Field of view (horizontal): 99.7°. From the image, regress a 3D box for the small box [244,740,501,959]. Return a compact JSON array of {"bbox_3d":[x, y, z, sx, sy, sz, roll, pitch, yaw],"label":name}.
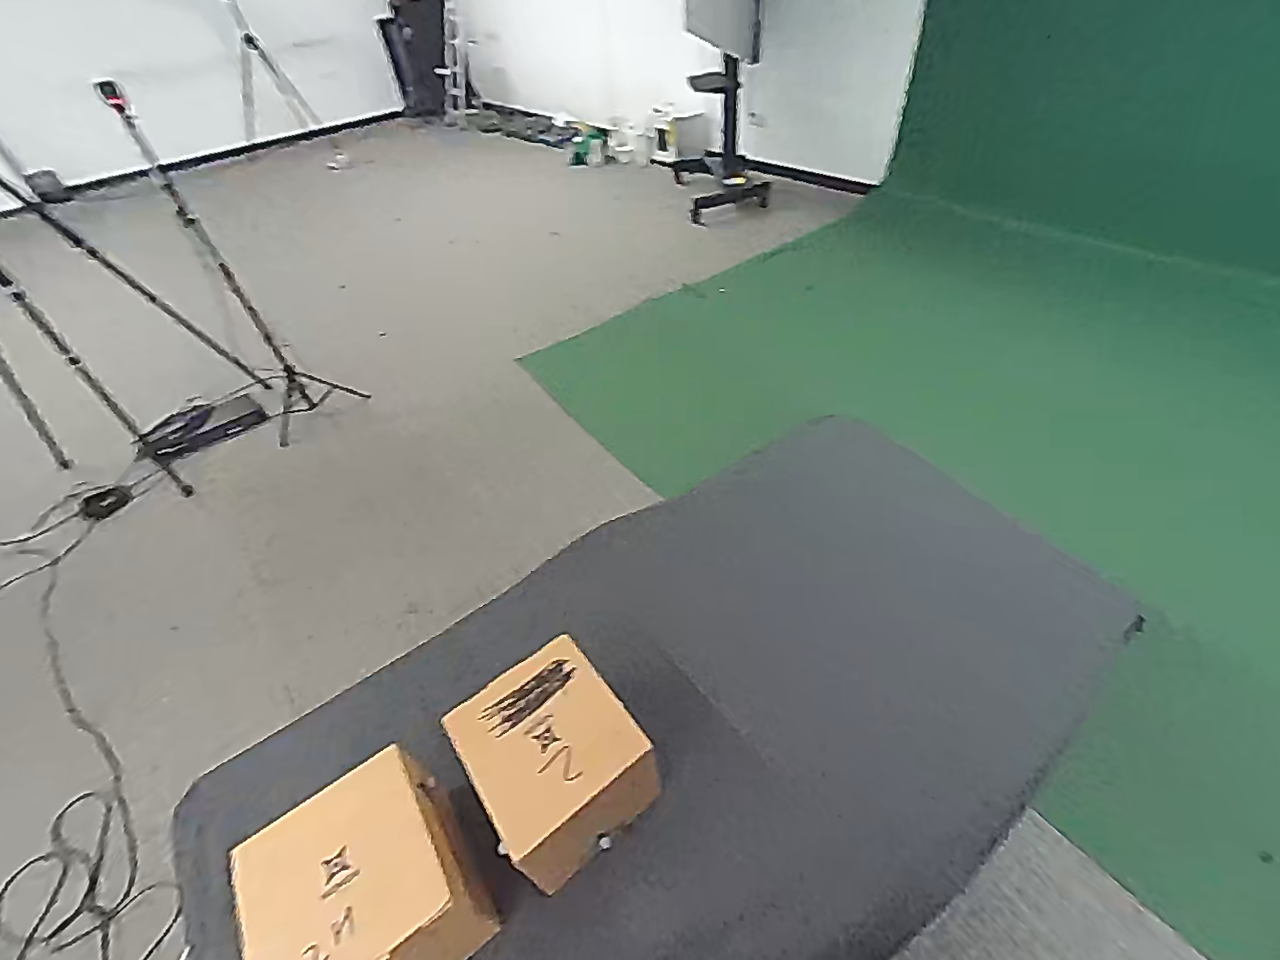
[{"bbox_3d":[-0.270,0.422,0.565,0.168,0.176,0.179,-30,48,-21],"label":"small box"}]
